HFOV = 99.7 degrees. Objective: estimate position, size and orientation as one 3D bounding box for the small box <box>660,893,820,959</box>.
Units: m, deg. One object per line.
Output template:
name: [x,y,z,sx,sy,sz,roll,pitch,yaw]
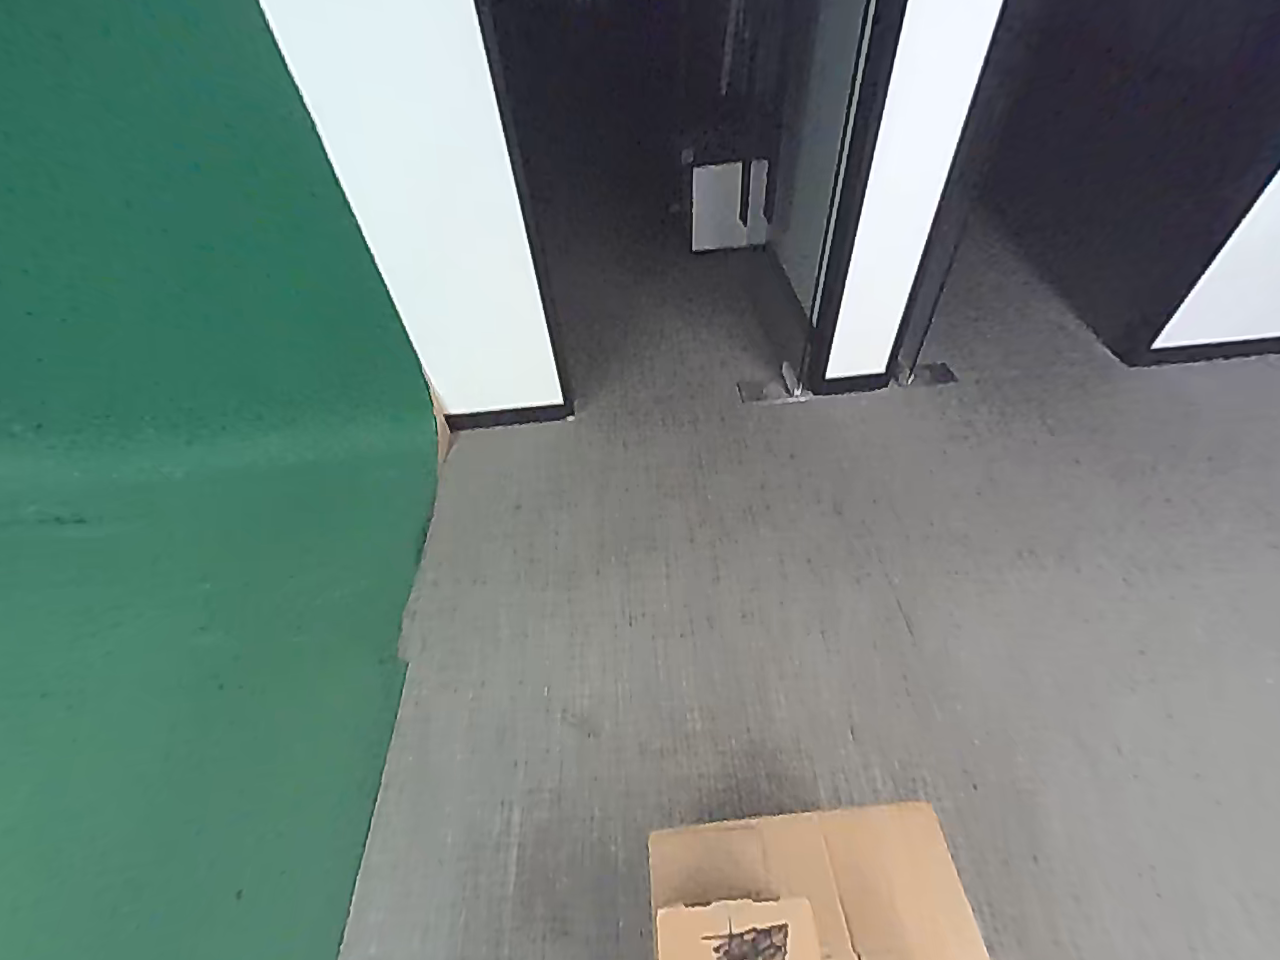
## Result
small box: [0.108,0.573,0.593,0.168,0.176,0.179,-5,51,1]
